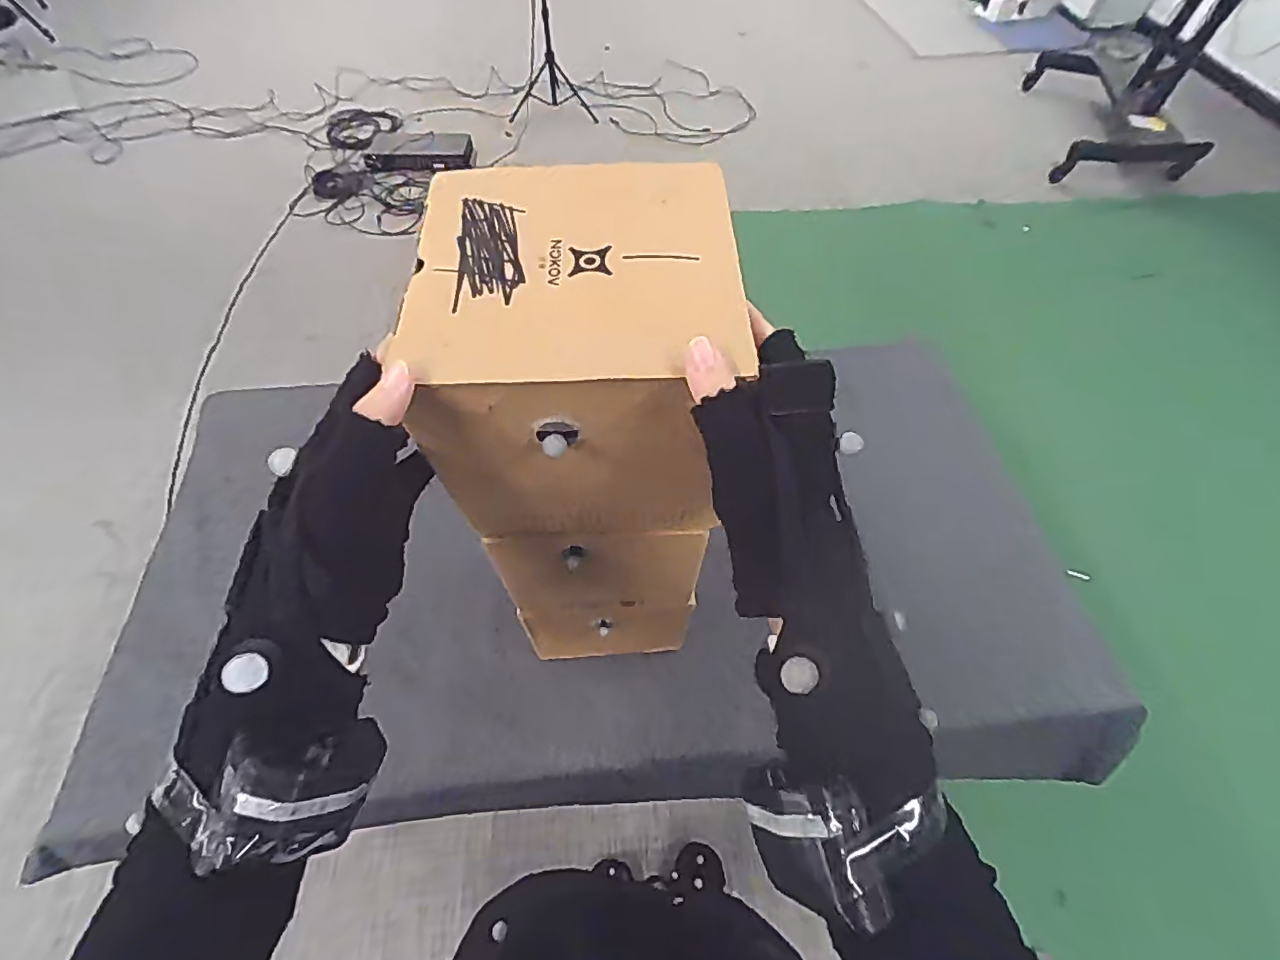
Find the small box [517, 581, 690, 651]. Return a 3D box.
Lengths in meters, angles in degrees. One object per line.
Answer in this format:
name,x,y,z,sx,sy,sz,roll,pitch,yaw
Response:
small box,-0.042,0.099,0.647,0.179,0.176,0.168,-3,58,-4

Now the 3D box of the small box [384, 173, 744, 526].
small box,-0.037,-0.076,0.364,0.179,0.176,0.168,-1,60,-1

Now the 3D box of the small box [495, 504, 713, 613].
small box,-0.036,0.011,0.512,0.168,0.176,0.179,-4,59,-5
